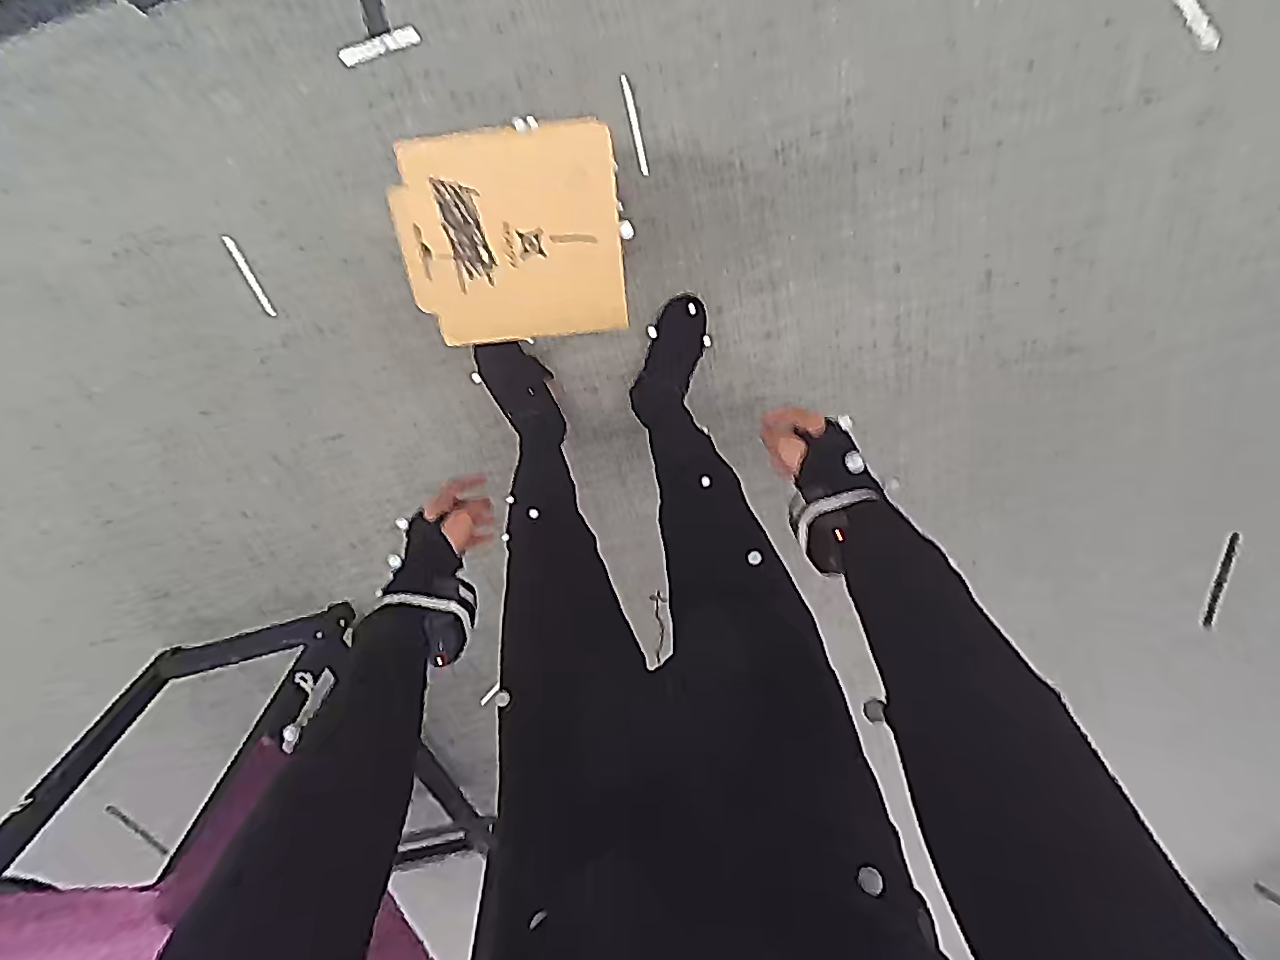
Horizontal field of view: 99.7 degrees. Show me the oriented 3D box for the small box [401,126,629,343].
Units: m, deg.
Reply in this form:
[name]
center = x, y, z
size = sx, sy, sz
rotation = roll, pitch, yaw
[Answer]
[small box]
center = -0.106, -0.244, 0.540
size = 0.179, 0.176, 0.168
rotation = -6, 119, -2
